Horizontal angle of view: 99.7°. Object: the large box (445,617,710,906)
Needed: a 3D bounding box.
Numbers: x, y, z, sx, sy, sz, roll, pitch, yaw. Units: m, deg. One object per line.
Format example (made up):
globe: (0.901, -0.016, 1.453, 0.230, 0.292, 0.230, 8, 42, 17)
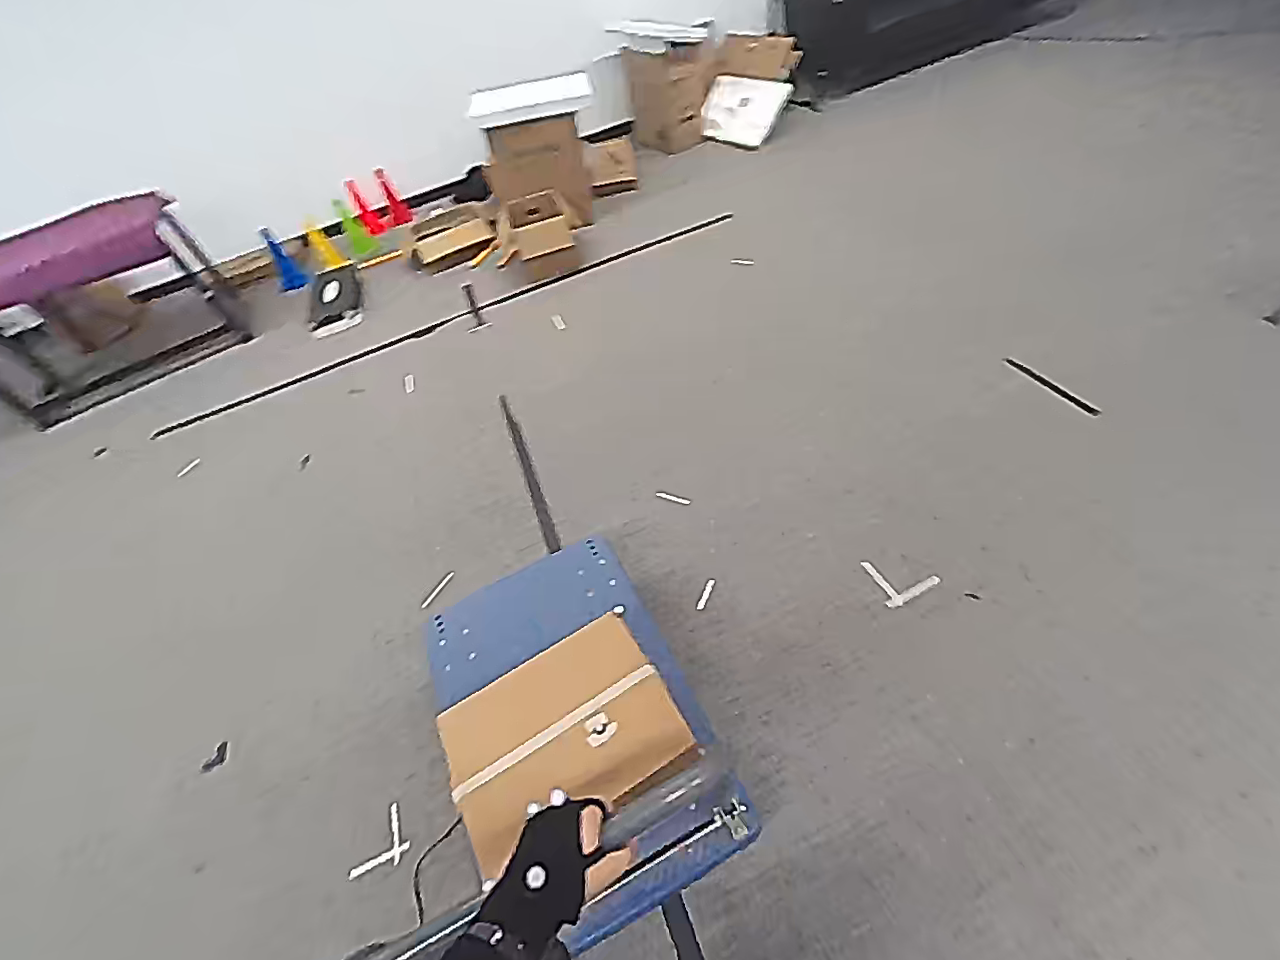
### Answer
large box: (-0.113, 0.566, 1.100, 0.408, 0.320, 0.320, -28, 50, -13)
